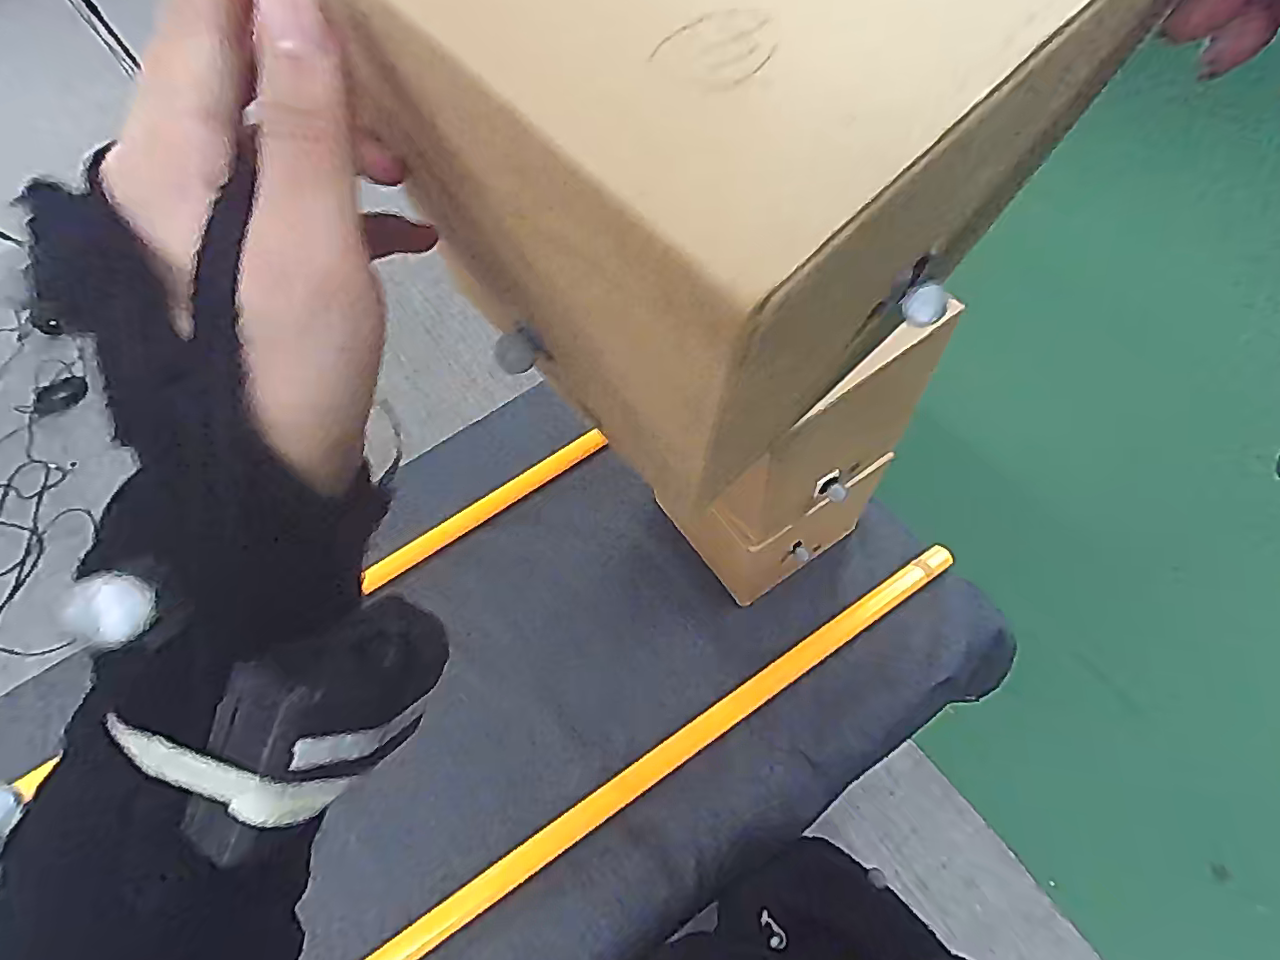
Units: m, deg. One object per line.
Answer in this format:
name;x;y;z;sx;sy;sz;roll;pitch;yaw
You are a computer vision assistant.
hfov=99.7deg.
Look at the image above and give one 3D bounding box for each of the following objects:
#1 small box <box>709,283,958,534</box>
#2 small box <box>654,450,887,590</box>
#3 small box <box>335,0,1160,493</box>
small box;0.106;-0.087;0.445;0.168;0.176;0.179;-35;61;-10
small box;0.124;-0.001;0.583;0.168;0.176;0.179;-33;60;-10
small box;0.028;-0.122;0.190;0.179;0.176;0.168;-42;76;-8
